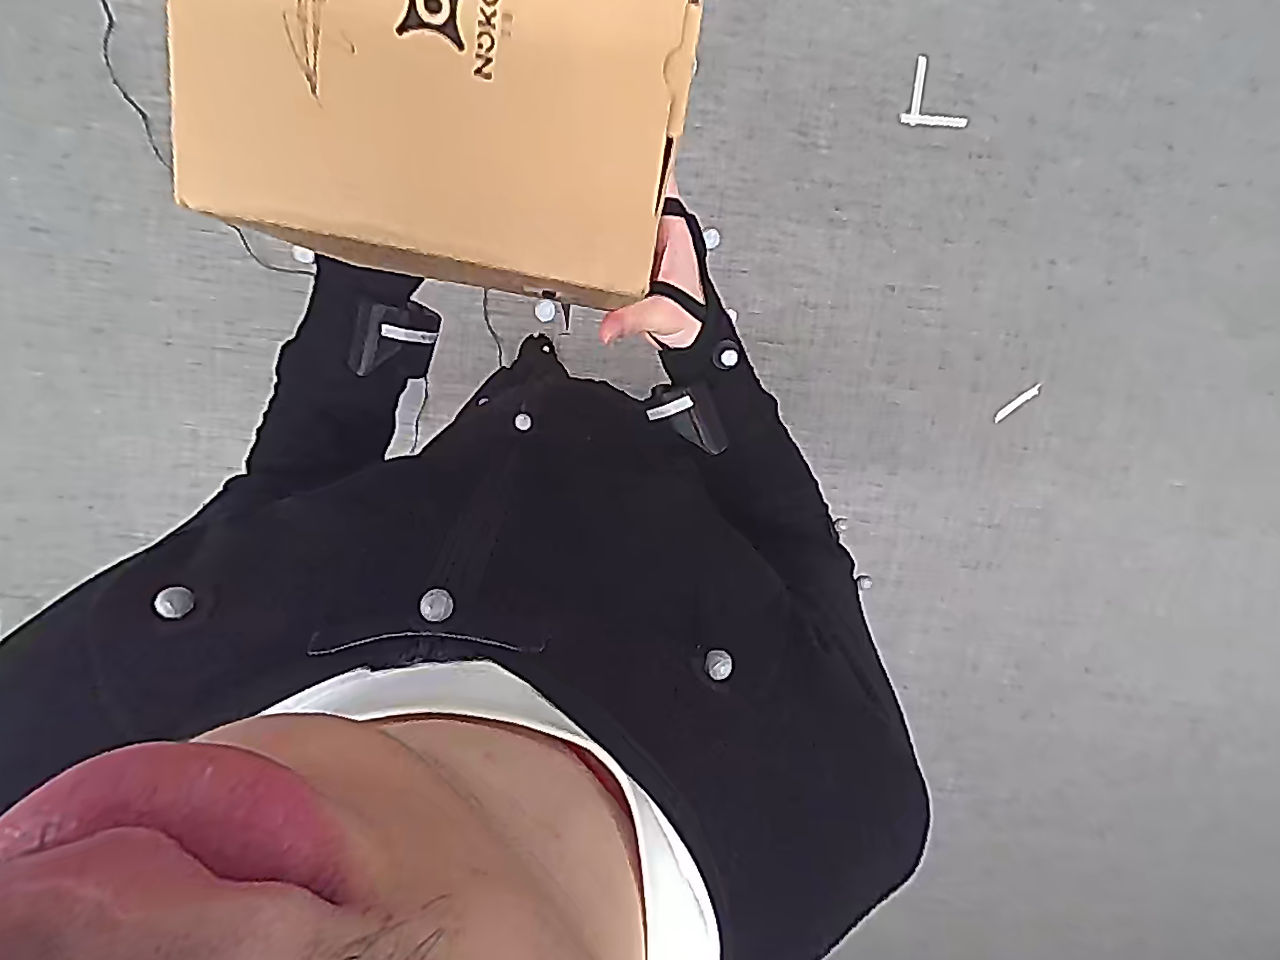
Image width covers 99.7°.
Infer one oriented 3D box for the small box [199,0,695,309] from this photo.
[{"bbox_3d":[-0.079,-0.187,0.279,0.179,0.176,0.168,8,104,-9],"label":"small box"}]
